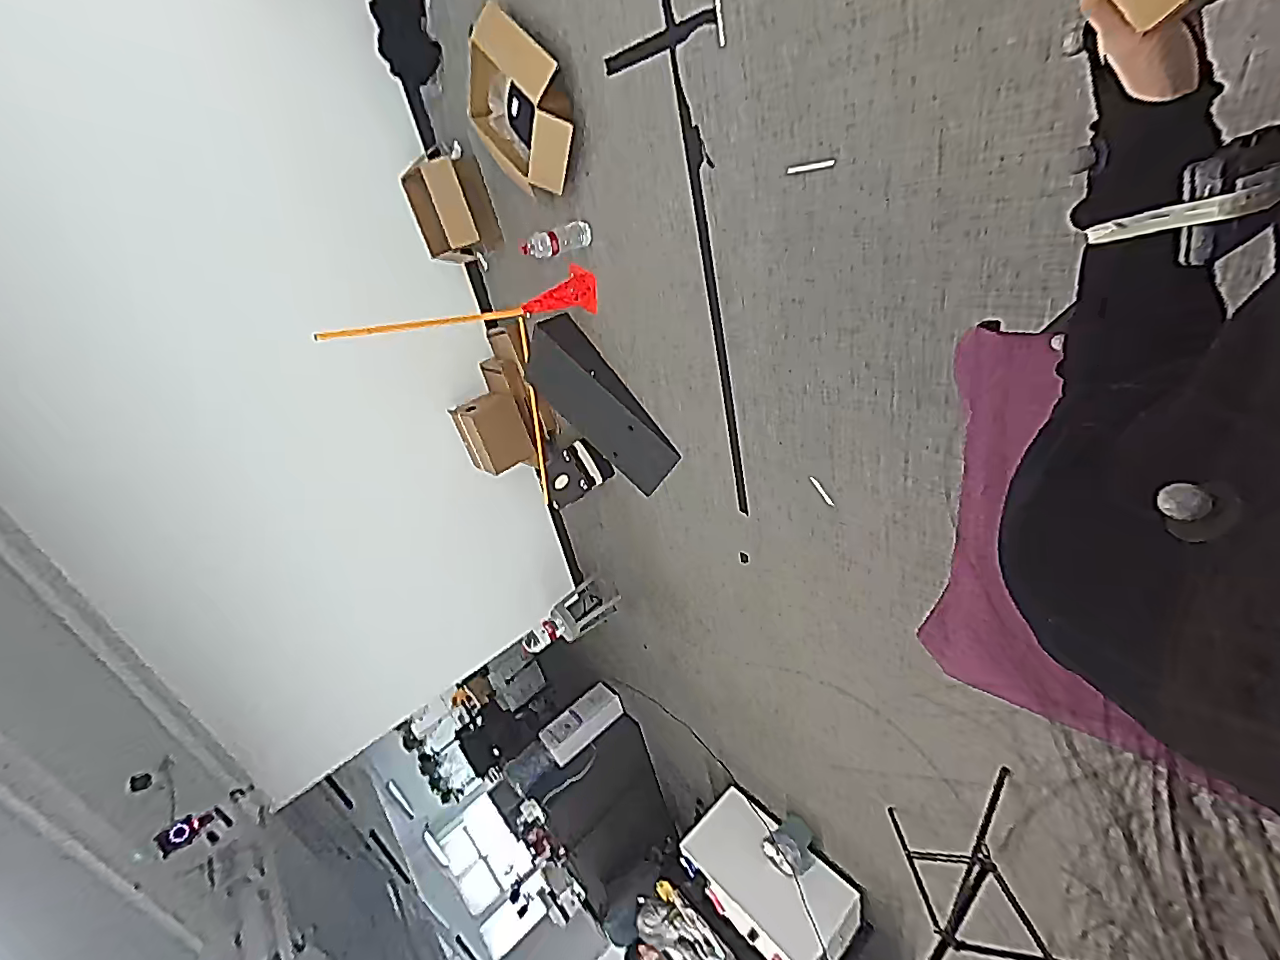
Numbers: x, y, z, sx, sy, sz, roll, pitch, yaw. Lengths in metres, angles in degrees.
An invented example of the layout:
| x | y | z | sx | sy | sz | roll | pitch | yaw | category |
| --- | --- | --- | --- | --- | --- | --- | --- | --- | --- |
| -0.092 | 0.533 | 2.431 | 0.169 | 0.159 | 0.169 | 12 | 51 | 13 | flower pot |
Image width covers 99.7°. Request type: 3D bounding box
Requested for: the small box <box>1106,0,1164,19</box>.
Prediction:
| x | y | z | sx | sy | sz | roll | pitch | yaw | category |
| --- | --- | --- | --- | --- | --- | --- | --- | --- | --- |
| 0.275 | -0.346 | 0.217 | 0.179 | 0.176 | 0.168 | 56 | 157 | 0 | small box |
